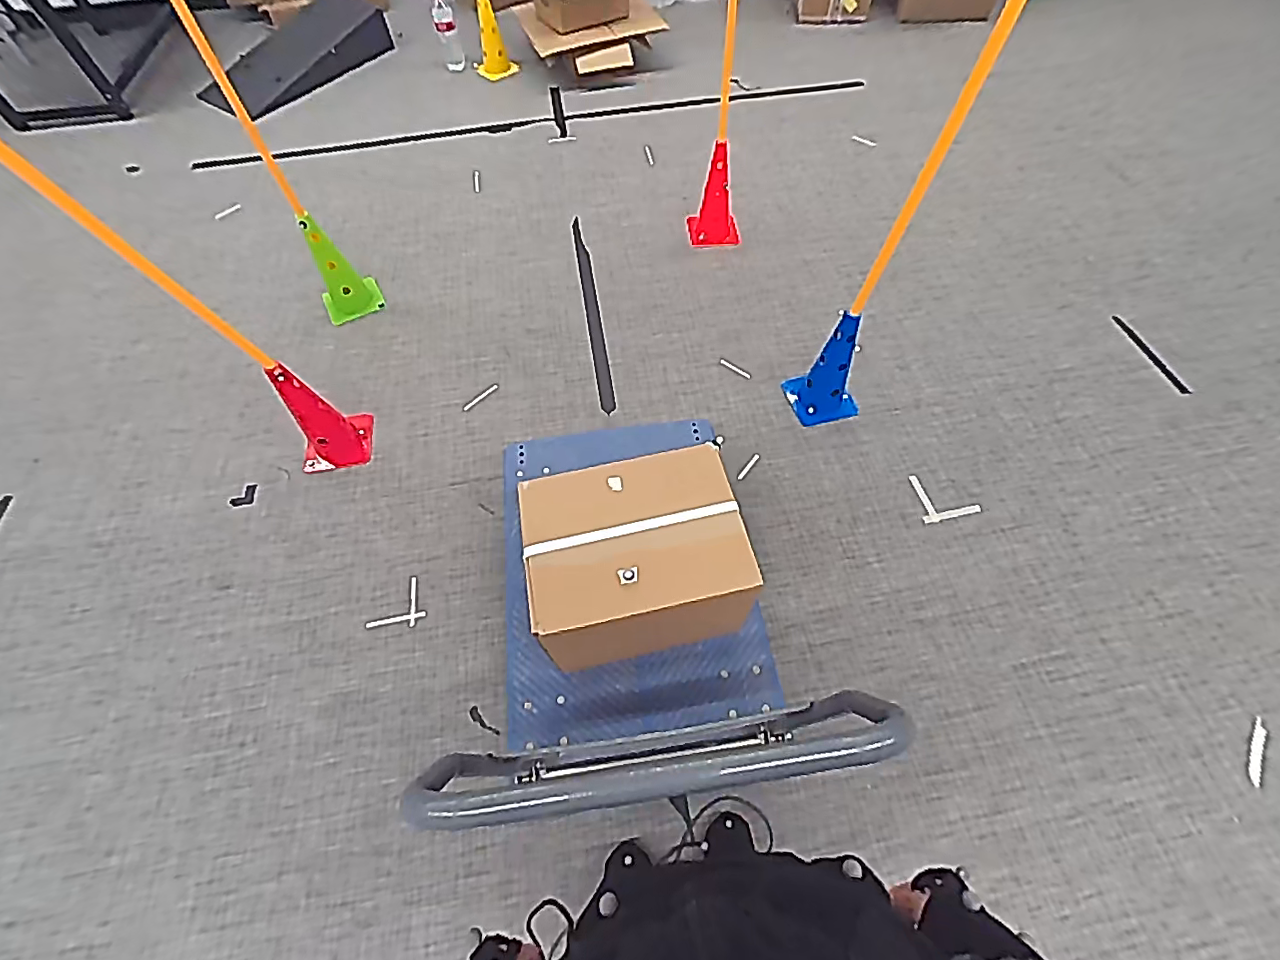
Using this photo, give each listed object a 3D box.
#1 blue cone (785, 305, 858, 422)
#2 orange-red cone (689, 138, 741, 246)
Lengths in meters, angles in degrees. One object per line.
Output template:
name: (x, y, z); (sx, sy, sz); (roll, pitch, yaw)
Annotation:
blue cone: (0.583, -0.360, 1.623); (0.193, 0.380, 0.192); (-13, 59, -6)
orange-red cone: (0.302, -1.109, 2.058); (0.199, 0.360, 0.198); (-3, 60, -1)
